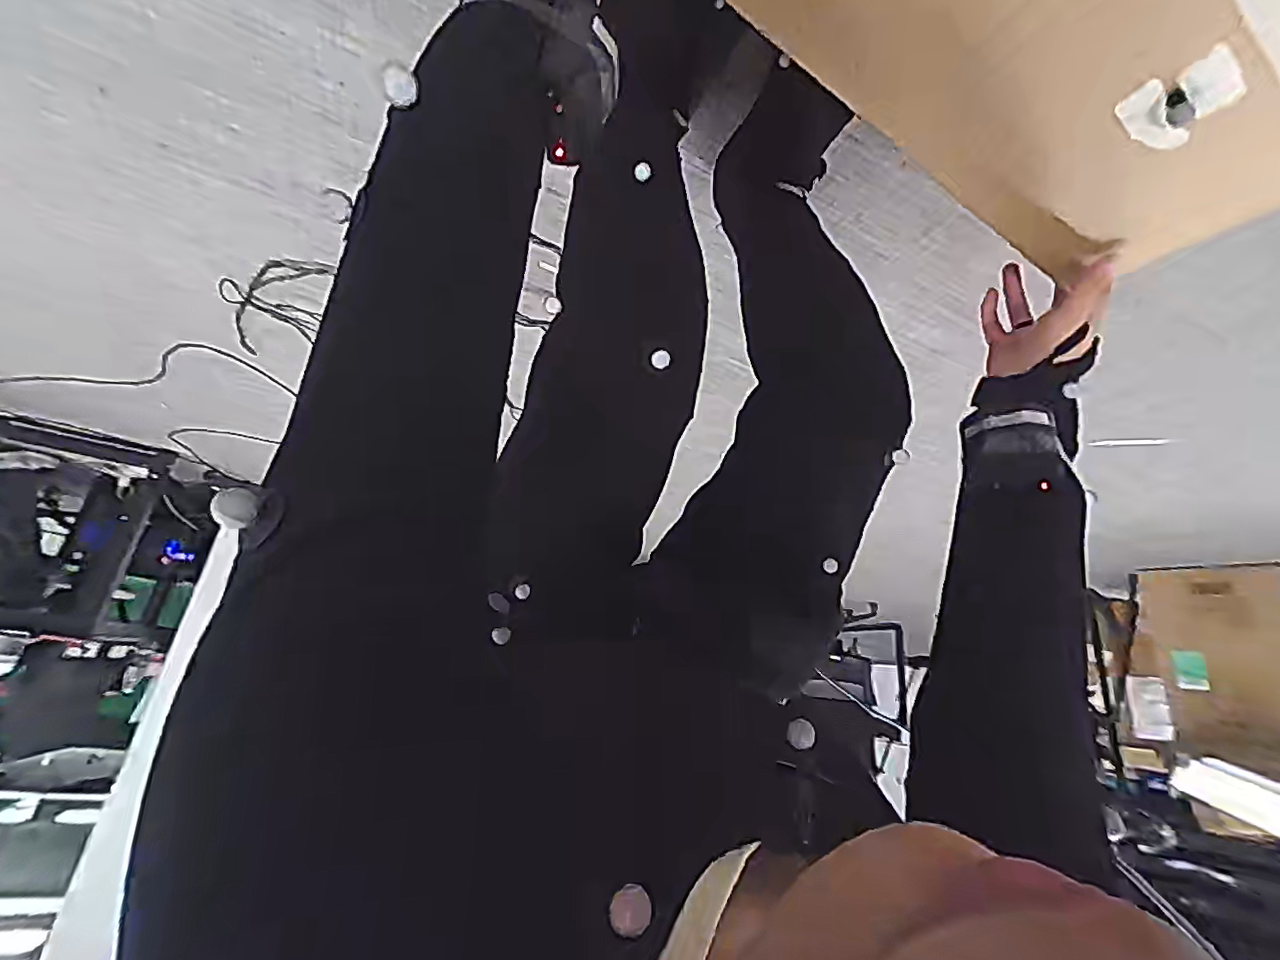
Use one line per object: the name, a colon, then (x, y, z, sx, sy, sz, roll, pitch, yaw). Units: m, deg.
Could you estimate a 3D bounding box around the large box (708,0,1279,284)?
large box: (0.287, -0.396, 0.309, 0.408, 0.320, 0.320, 16, 158, -27)
